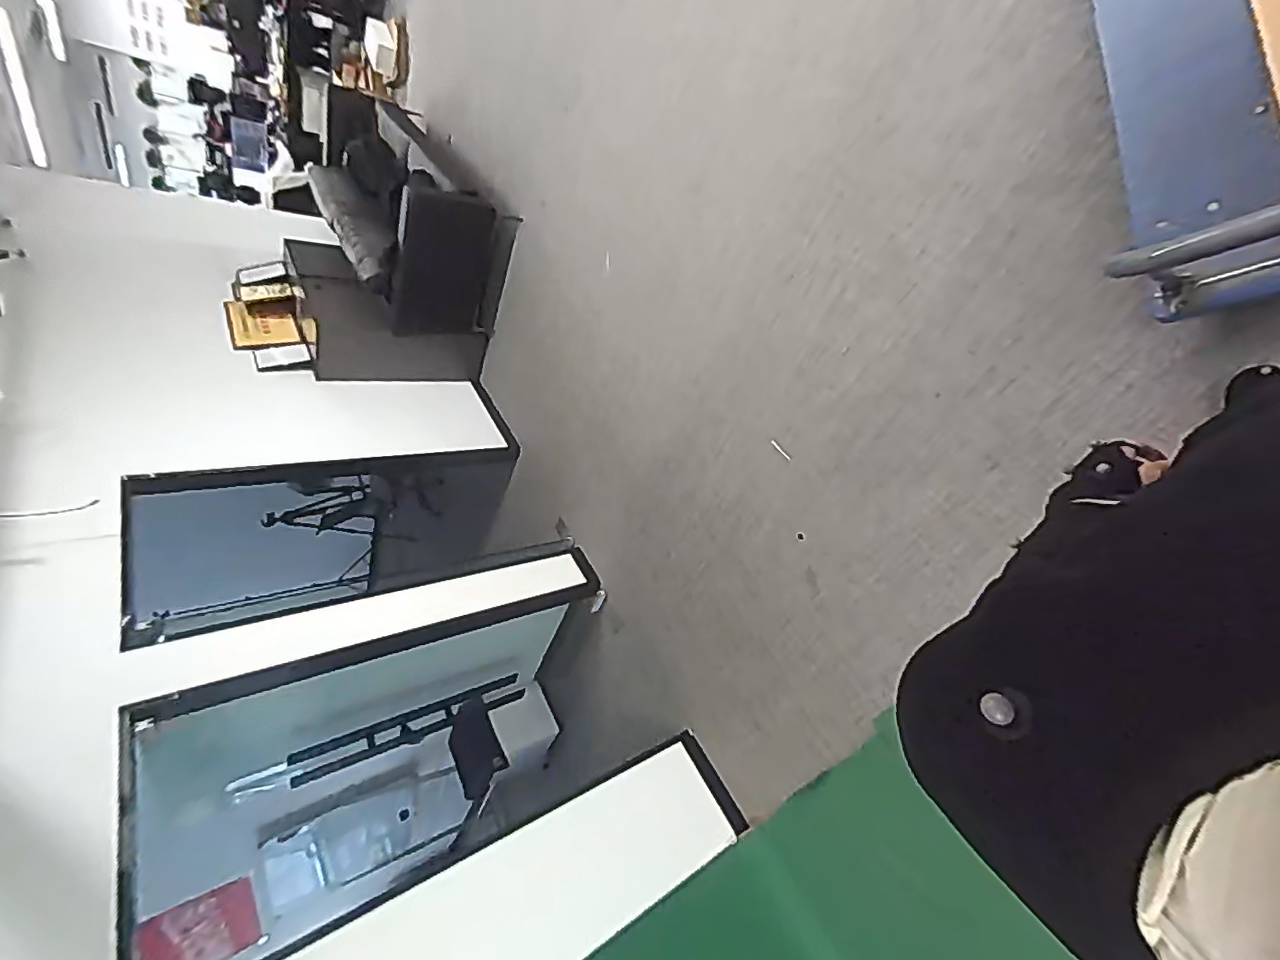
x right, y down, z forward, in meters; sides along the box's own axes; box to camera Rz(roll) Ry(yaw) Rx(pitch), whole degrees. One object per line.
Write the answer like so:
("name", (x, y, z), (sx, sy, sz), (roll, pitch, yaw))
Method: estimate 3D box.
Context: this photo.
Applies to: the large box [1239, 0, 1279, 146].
("large box", (1.102, -0.622, 0.746), (0.320, 0.320, 0.408), (-15, 84, 51))
